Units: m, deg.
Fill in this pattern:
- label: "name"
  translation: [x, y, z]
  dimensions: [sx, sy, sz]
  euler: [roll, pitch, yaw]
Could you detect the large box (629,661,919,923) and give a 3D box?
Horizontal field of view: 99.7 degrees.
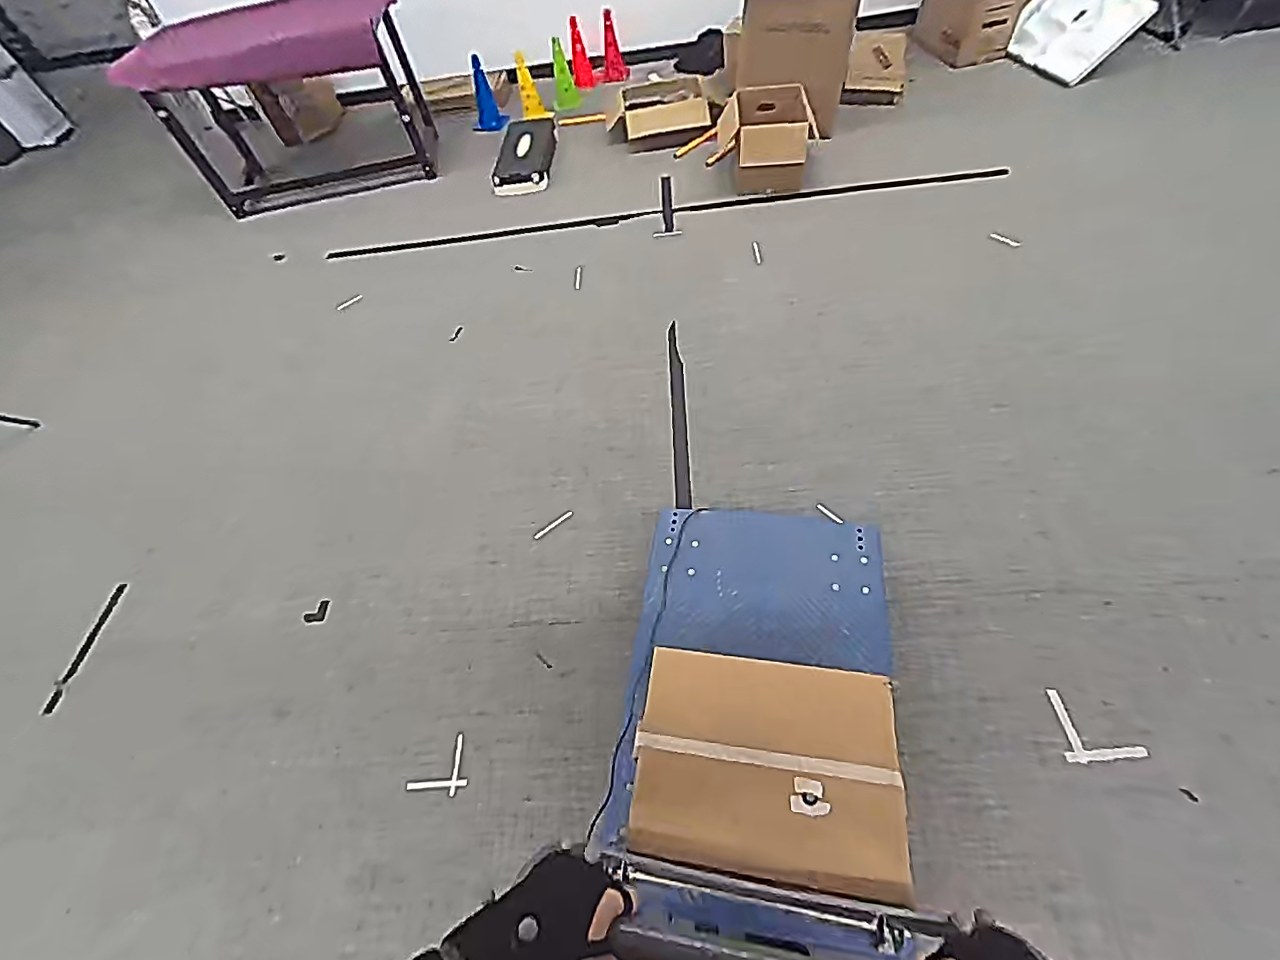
- label: "large box"
  translation: [0.212, 0.542, 0.953]
  dimensions: [0.408, 0.320, 0.320]
  euler: [4, 55, 10]
